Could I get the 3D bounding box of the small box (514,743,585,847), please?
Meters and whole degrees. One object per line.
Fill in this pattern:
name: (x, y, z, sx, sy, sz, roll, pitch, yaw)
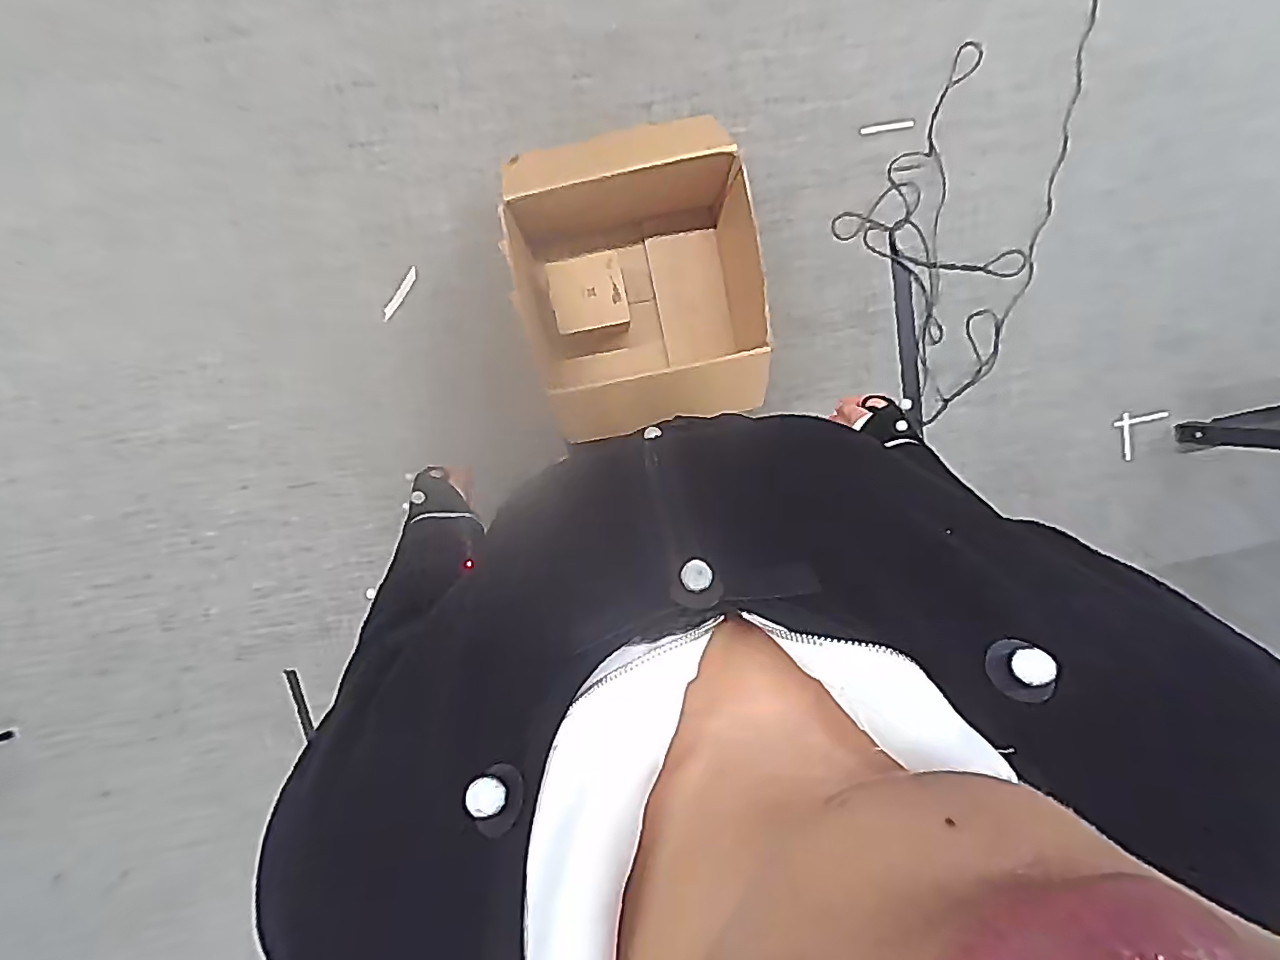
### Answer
small box: (-0.243, 0.861, 1.489, 0.168, 0.176, 0.179, -7, 97, -4)
